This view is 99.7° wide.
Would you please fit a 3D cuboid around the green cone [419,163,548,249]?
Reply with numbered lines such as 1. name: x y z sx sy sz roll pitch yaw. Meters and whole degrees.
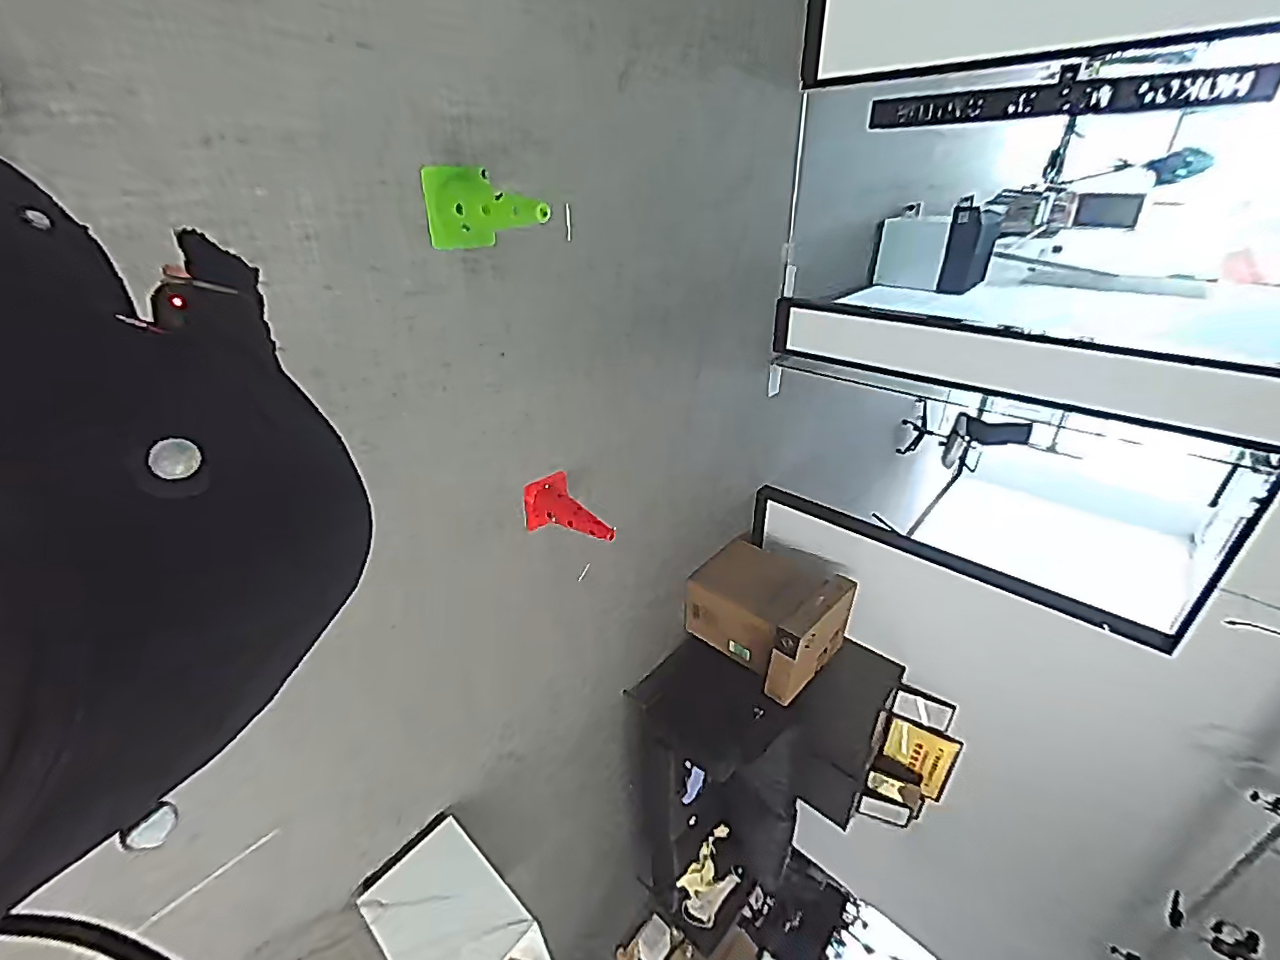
1. green cone: -0.365 -0.681 1.360 0.200 0.368 0.202 -29 131 -40
